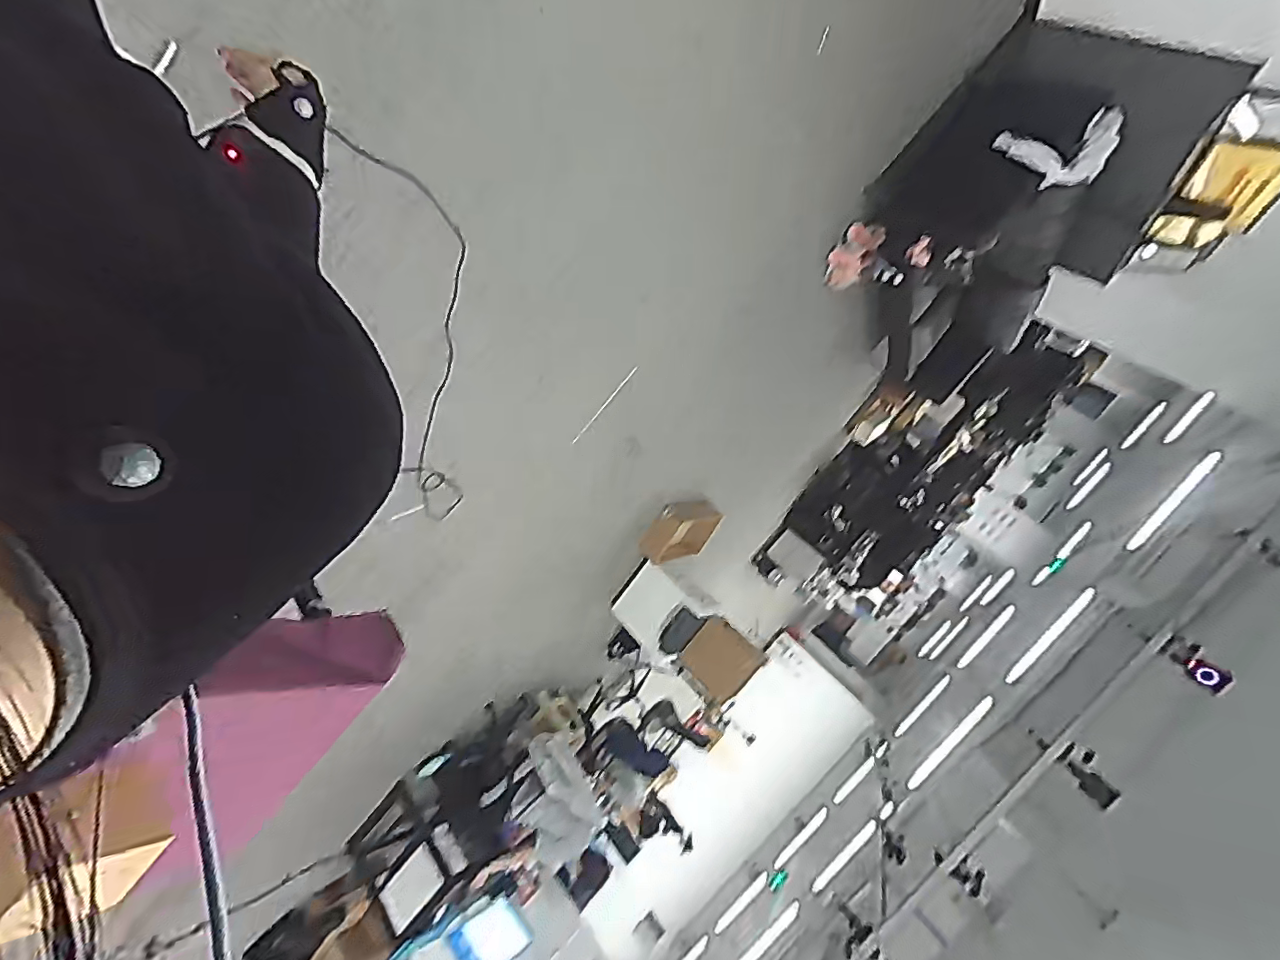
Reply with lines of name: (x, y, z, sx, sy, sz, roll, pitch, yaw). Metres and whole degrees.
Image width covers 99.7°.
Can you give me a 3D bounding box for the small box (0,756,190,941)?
small box: (-0.929, 0.603, 0.915, 0.168, 0.176, 0.179, -49, 153, 3)
